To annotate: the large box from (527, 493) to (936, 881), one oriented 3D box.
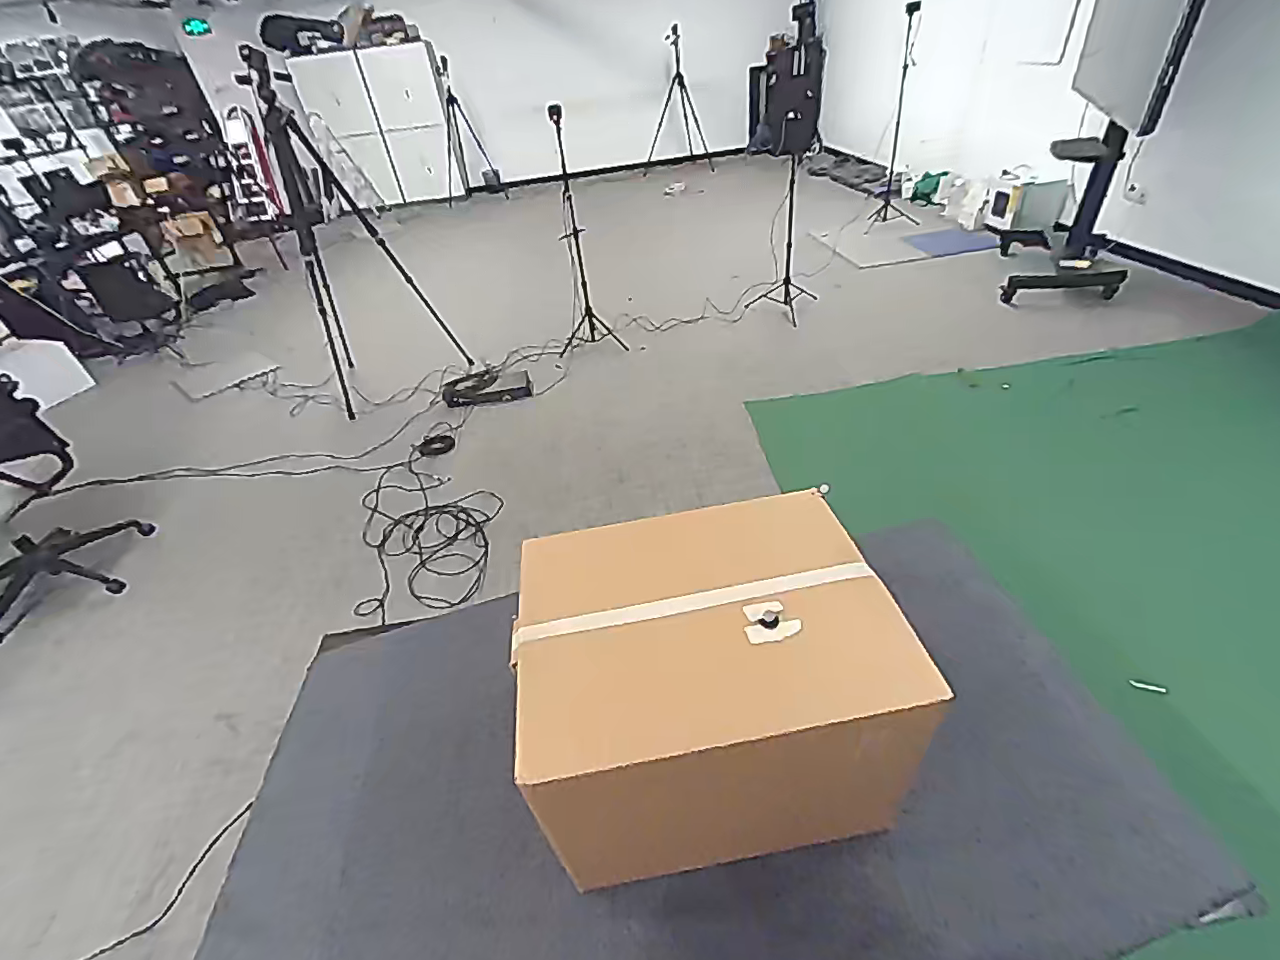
[{"bbox_3d":[0.081,0.260,0.708,0.408,0.320,0.320,-10,39,-3],"label":"large box"}]
